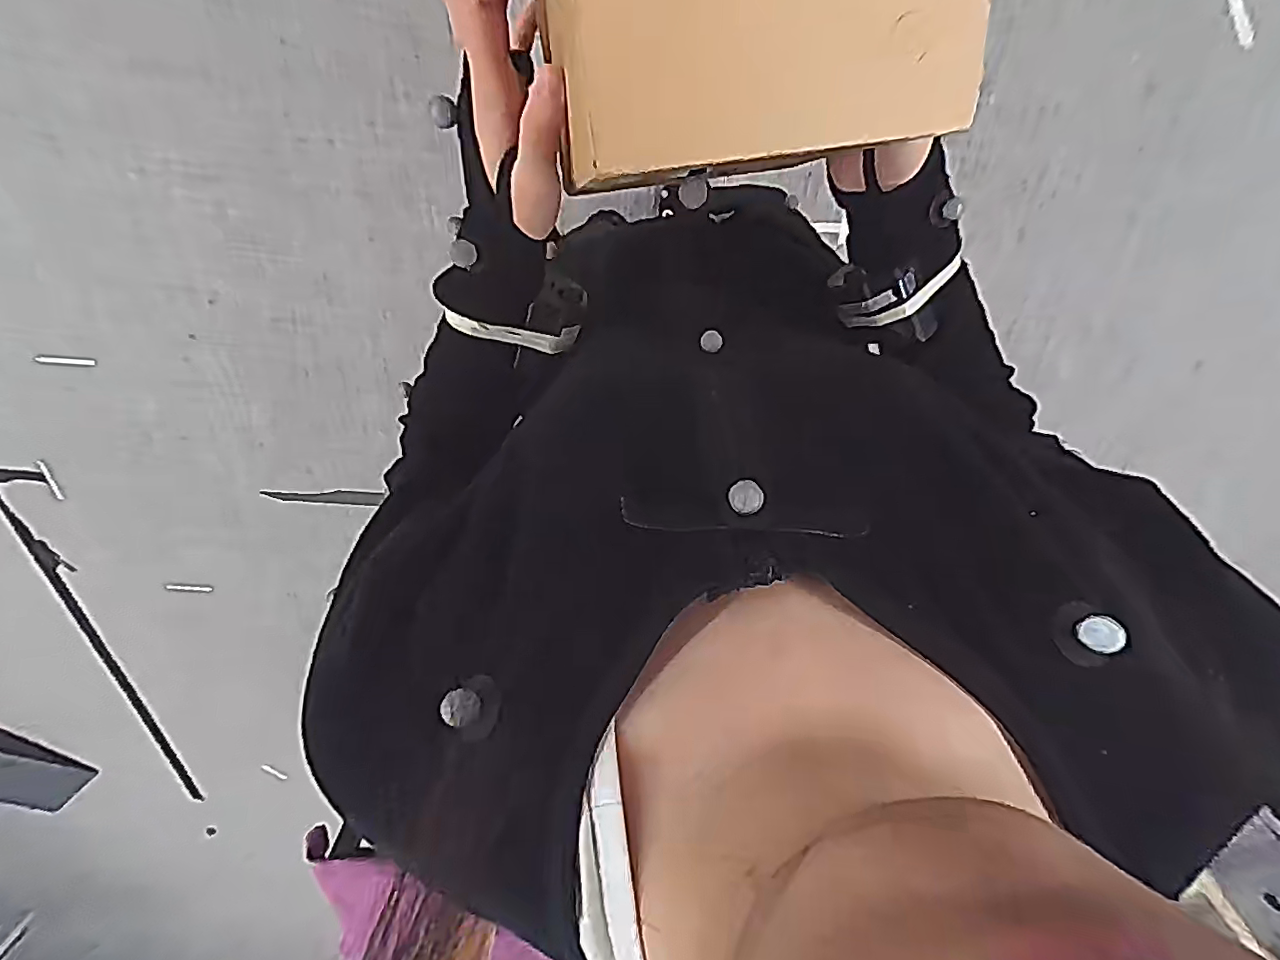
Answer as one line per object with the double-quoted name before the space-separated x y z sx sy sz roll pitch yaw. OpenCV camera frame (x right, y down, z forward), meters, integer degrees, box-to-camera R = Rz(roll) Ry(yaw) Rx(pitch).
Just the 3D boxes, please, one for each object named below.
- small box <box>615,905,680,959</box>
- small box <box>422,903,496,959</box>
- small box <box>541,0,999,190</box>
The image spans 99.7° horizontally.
"small box" 0.018 1.291 1.463 0.168 0.176 0.179 5 120 -2
"small box" -0.489 1.285 1.461 0.168 0.176 0.179 8 121 -5
"small box" 0.040 -0.243 0.254 0.168 0.176 0.179 -11 116 -7
